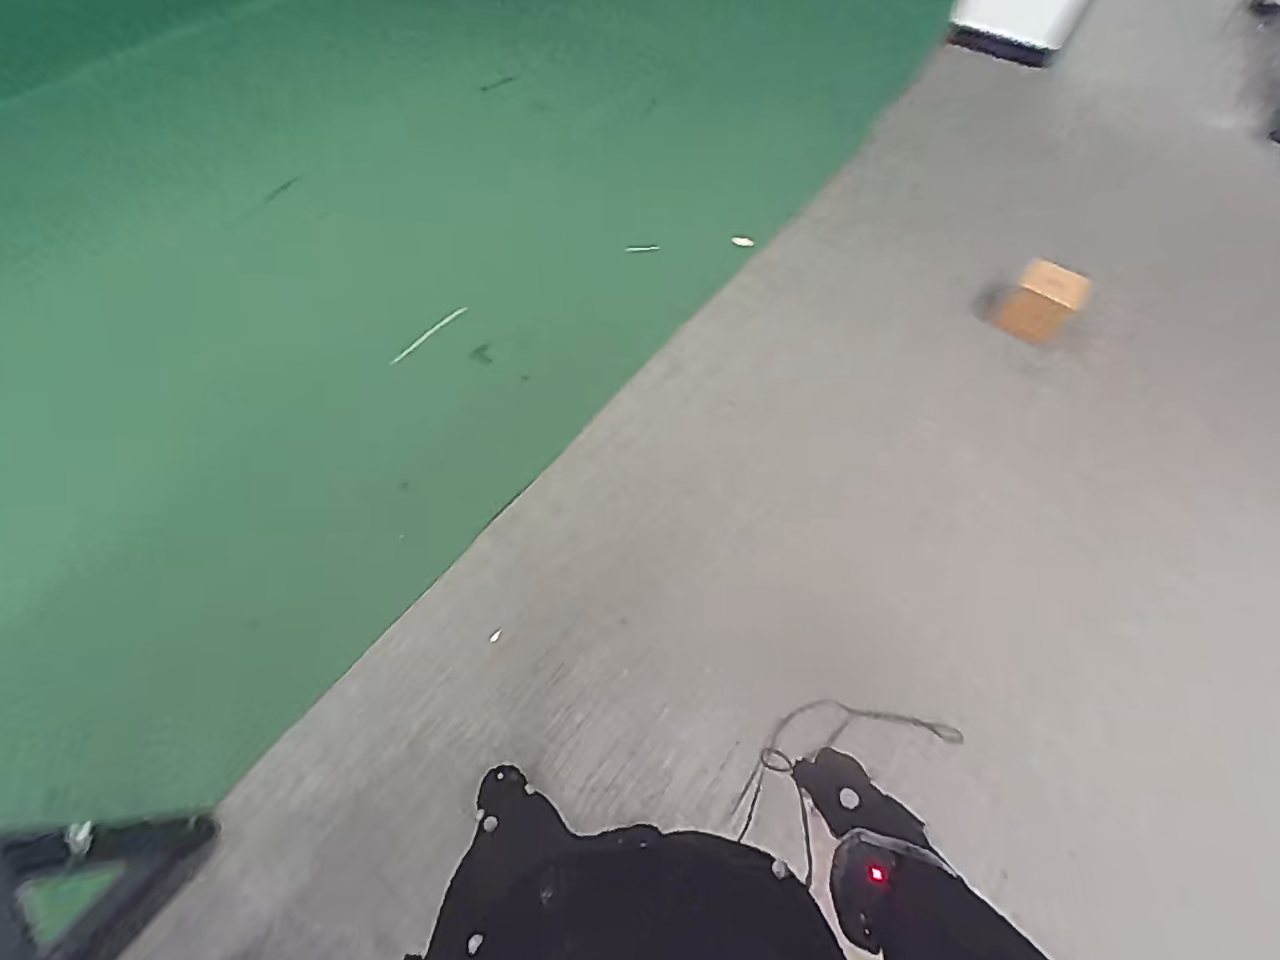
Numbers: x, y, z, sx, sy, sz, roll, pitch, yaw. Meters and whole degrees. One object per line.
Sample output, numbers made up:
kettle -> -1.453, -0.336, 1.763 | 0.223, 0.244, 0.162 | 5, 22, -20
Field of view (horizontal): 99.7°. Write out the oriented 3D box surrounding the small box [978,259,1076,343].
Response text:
small box -> 1.260, -0.578, 1.768 | 0.179, 0.176, 0.168 | 33, 66, 19
